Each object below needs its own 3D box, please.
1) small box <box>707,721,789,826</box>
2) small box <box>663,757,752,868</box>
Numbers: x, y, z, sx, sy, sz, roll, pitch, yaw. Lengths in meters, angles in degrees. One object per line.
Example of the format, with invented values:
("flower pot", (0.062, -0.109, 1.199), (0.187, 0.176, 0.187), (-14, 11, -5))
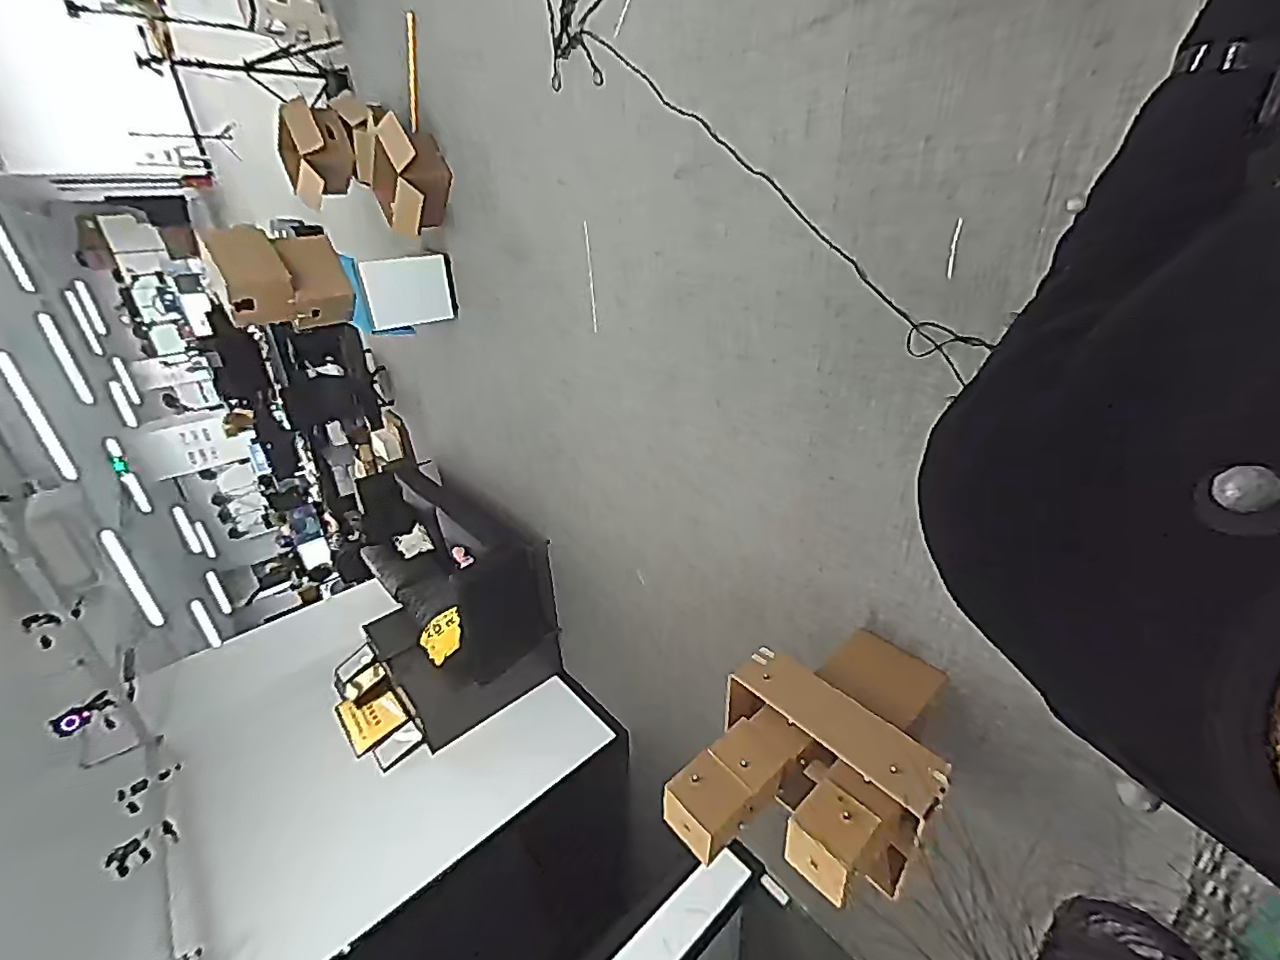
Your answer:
("small box", (0.312, 0.853, 1.587), (0.179, 0.176, 0.168), (32, 131, 42))
("small box", (0.184, 0.910, 1.503), (0.179, 0.176, 0.168), (31, 131, 41))
